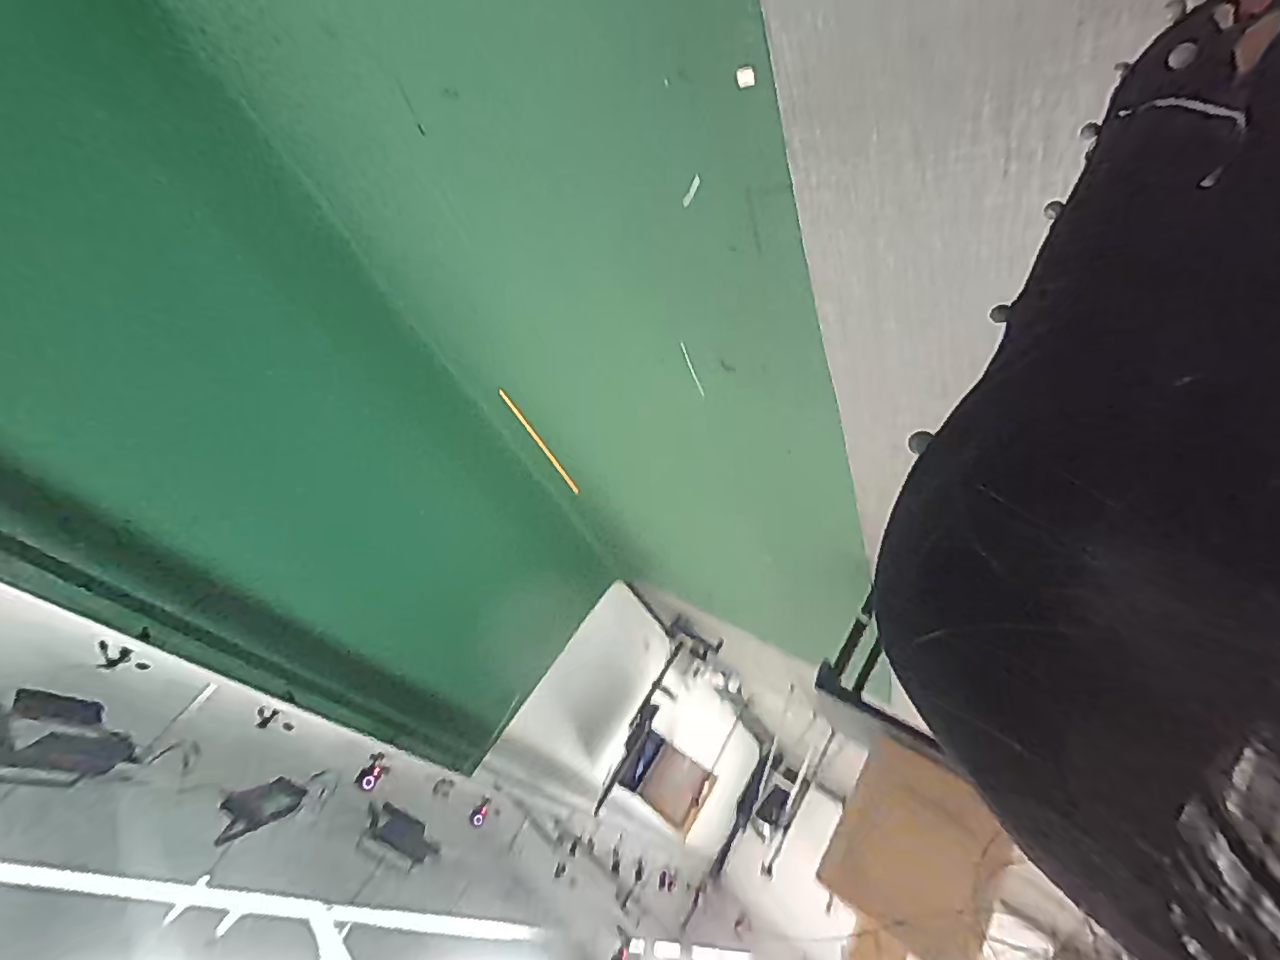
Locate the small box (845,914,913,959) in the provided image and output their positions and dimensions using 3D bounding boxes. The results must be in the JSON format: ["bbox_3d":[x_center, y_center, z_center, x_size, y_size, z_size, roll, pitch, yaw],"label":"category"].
[{"bbox_3d":[0.863,1.713,1.952,0.168,0.176,0.179,25,153,28],"label":"small box"}]
